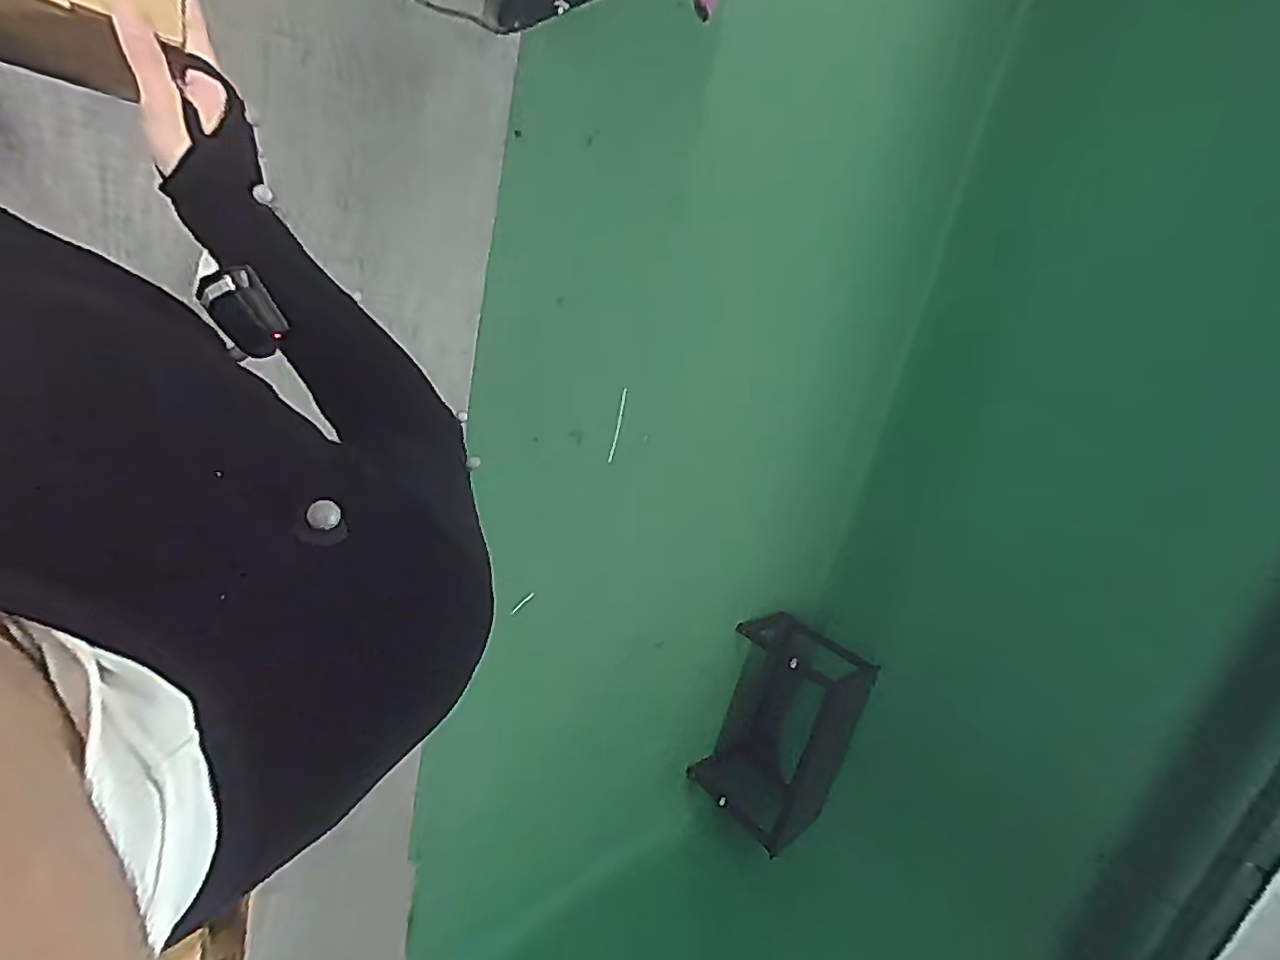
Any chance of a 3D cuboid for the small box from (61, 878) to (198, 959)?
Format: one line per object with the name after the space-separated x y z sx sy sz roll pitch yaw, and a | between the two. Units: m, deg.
-0.922 0.885 0.977 0.179 0.176 0.168 -2 113 -45 | small box
